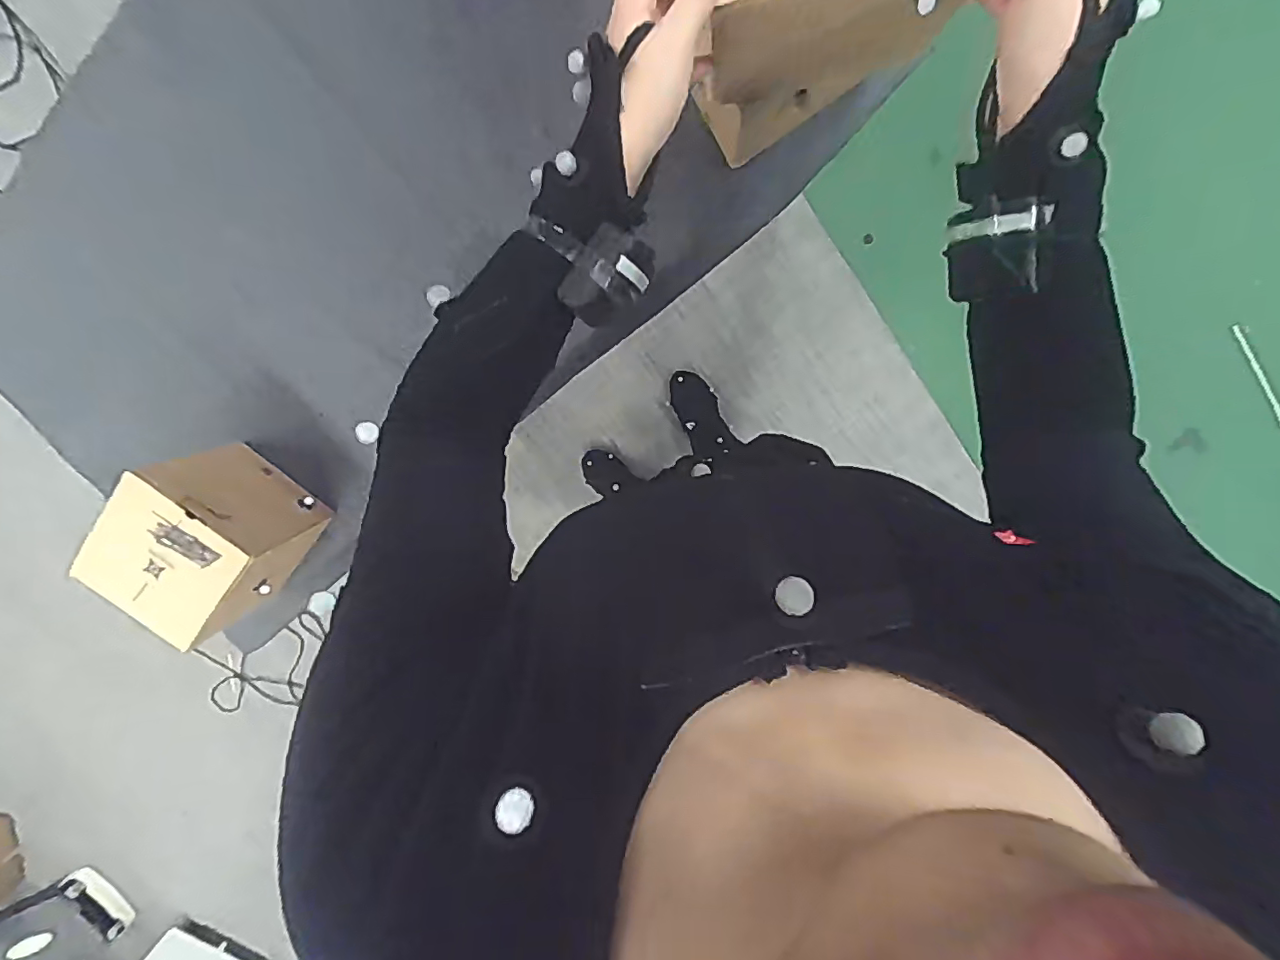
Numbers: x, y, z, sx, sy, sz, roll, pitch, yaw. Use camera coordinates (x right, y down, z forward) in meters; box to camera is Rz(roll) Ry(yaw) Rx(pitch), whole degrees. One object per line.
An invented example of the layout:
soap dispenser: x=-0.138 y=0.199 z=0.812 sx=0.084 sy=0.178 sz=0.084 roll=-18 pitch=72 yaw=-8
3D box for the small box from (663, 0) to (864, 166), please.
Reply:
small box: x=0.133 y=-0.449 z=0.525 sx=0.179 sy=0.176 sz=0.168 roll=-31 pitch=98 yaw=14

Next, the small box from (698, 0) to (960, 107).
small box: x=0.124 y=-0.382 z=0.363 sx=0.179 sy=0.176 sz=0.168 roll=-7 pitch=107 yaw=8

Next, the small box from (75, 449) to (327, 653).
small box: x=-0.558 y=0.082 z=0.717 sx=0.168 sy=0.176 sz=0.179 roll=40 pitch=104 yaw=-8
